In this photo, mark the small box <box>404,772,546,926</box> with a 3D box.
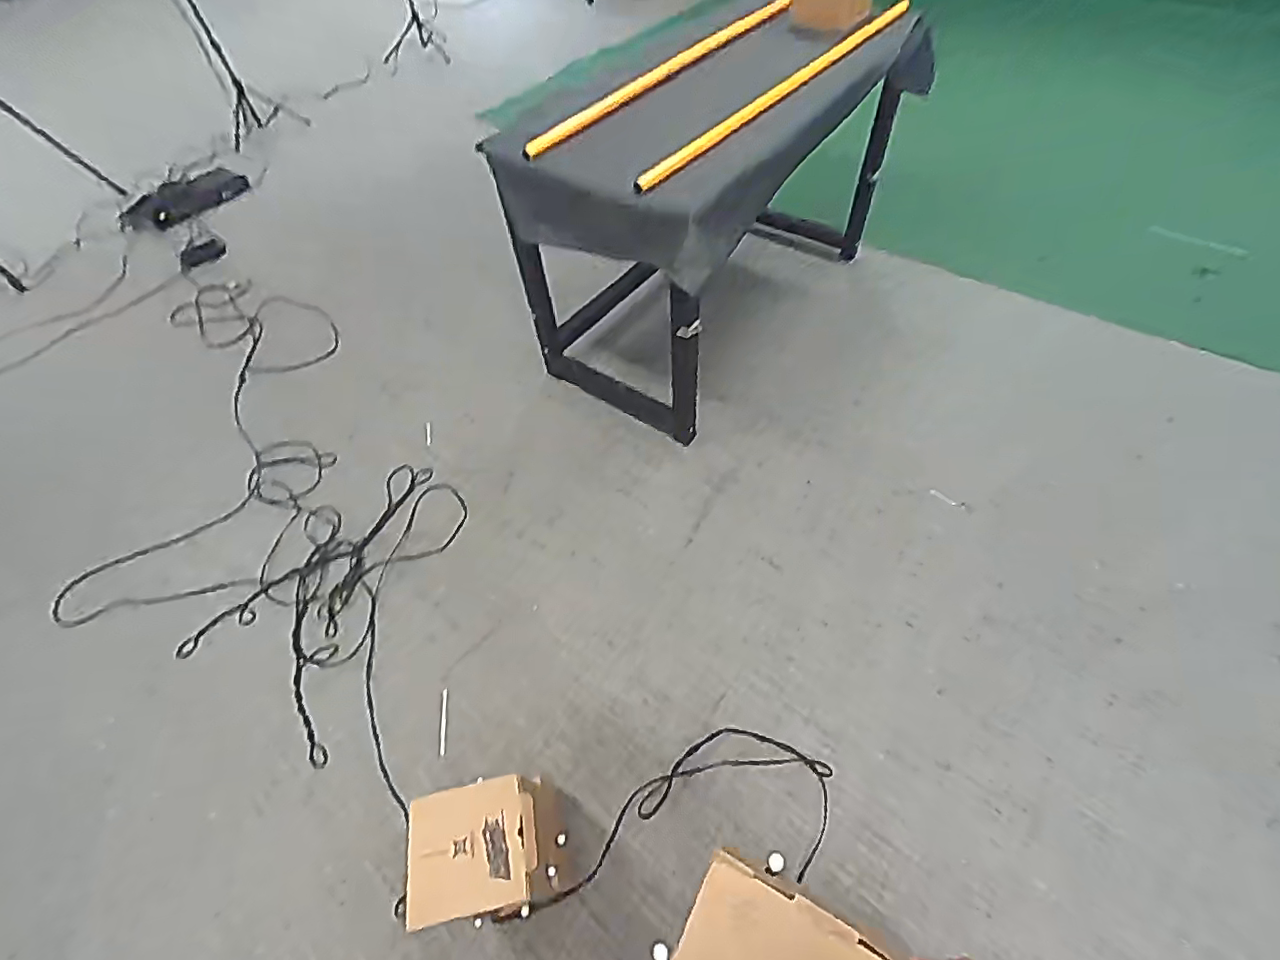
[{"bbox_3d":[-0.254,0.586,0.867,0.179,0.176,0.168,-13,54,-3],"label":"small box"}]

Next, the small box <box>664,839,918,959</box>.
[{"bbox_3d":[0.096,0.396,0.397,0.168,0.176,0.179,21,65,22],"label":"small box"}]

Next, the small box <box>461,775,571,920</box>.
[{"bbox_3d":[-0.234,0.676,1.004,0.168,0.176,0.179,-16,55,-7],"label":"small box"}]

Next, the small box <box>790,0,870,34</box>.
[{"bbox_3d":[0.546,-1.390,1.521,0.179,0.176,0.168,31,64,24],"label":"small box"}]
